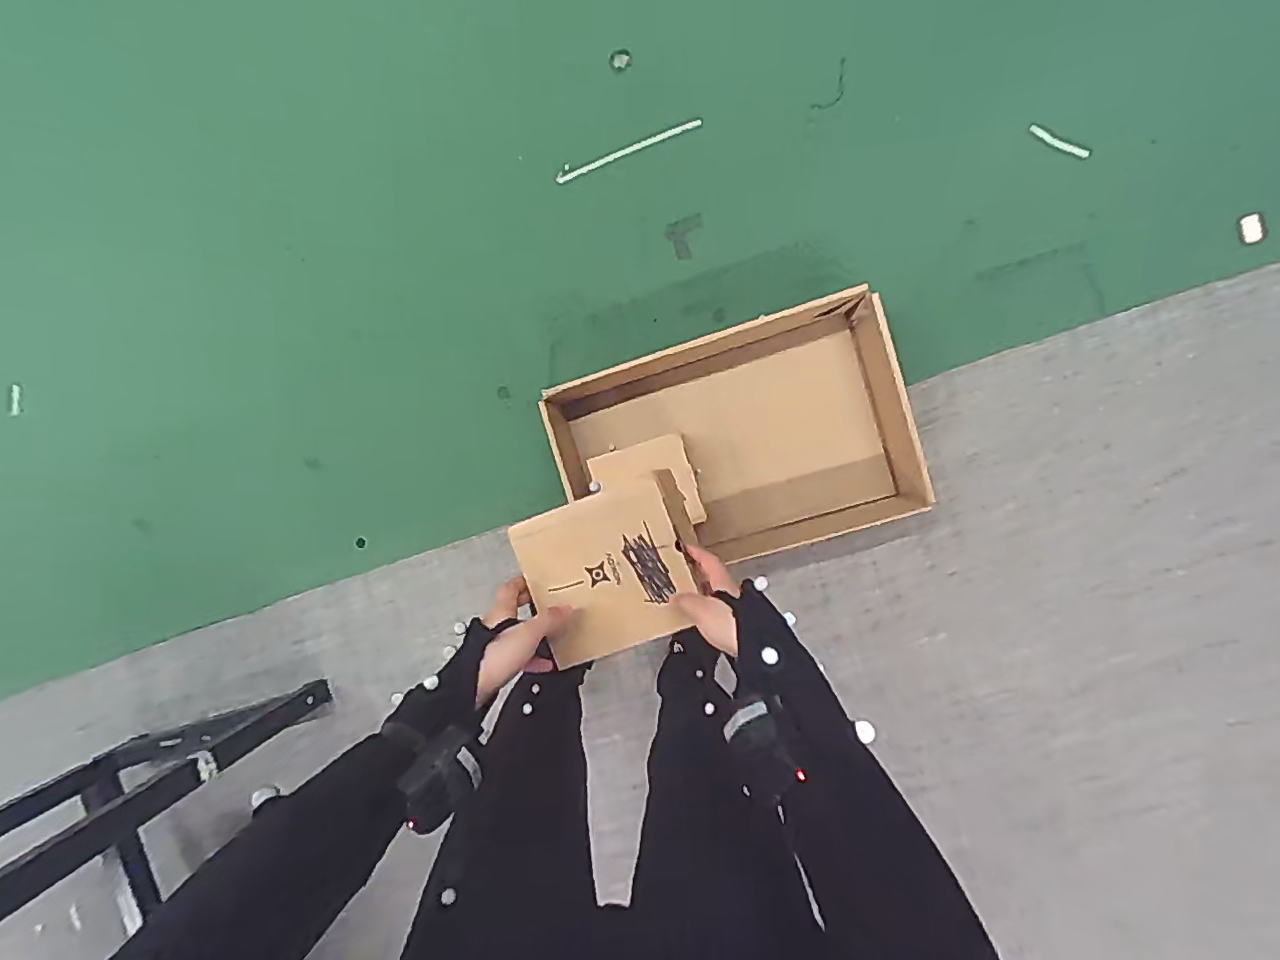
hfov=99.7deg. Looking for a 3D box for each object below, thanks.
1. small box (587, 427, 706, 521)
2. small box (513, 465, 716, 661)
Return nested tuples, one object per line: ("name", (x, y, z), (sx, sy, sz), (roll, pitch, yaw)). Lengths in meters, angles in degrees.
("small box", (0.020, 0.005, 1.016), (0.179, 0.176, 0.168), (-17, 93, 7))
("small box", (-0.018, 0.085, 0.646), (0.179, 0.176, 0.168), (-21, 90, 10))
